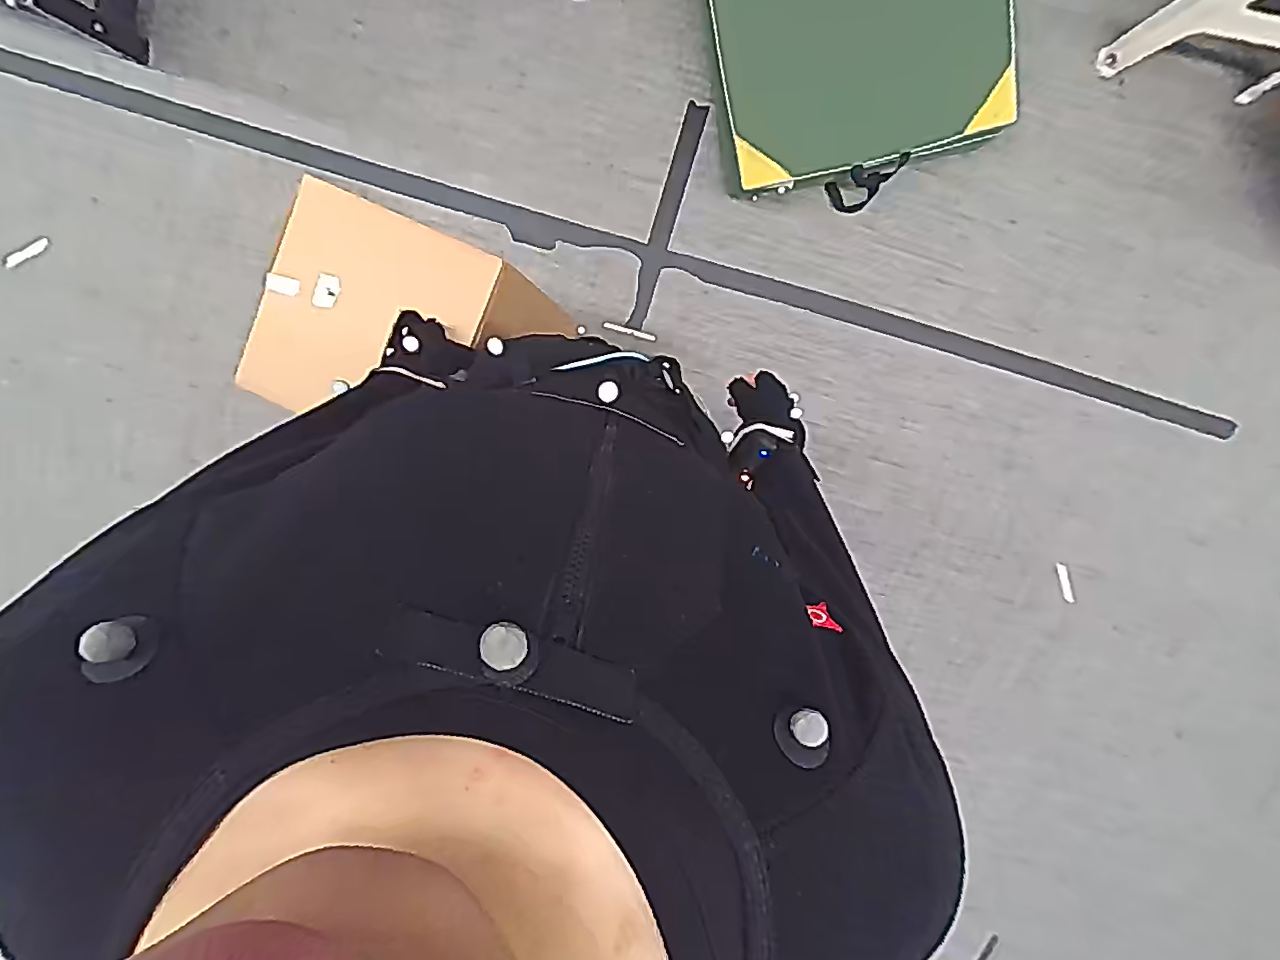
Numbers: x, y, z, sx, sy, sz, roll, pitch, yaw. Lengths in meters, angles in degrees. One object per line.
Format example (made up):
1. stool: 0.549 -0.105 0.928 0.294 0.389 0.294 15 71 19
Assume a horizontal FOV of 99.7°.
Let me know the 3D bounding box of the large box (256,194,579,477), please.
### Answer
1. large box: -0.348 -0.224 0.946 0.320 0.408 0.320 26 98 4
